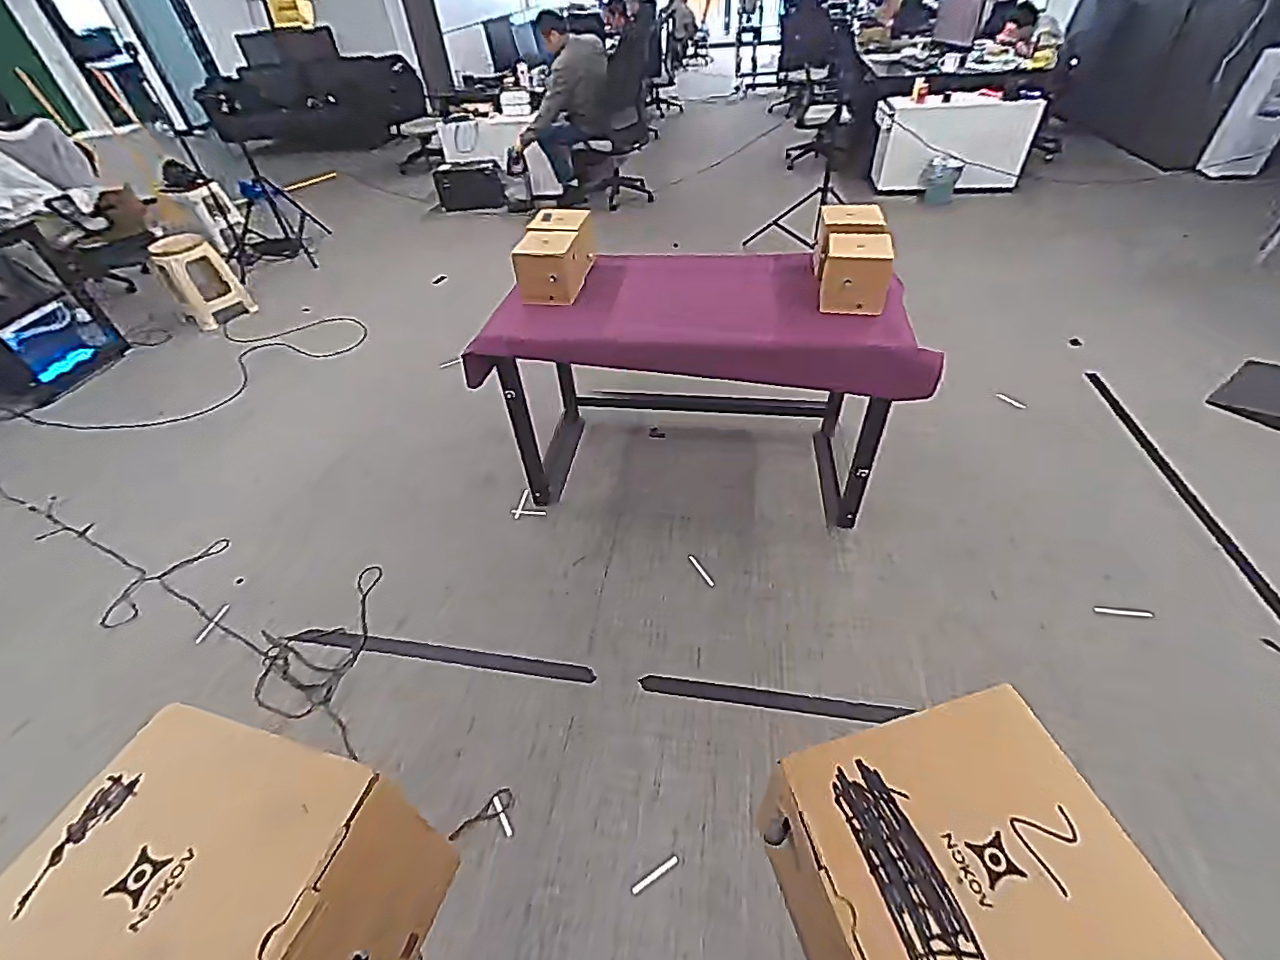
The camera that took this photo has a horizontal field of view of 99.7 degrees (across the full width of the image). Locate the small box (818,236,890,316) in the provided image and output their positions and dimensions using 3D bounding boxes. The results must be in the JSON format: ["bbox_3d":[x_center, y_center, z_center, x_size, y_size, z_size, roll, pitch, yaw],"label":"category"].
[{"bbox_3d":[0.612,-0.587,1.557,0.168,0.176,0.179,7,44,13],"label":"small box"}]

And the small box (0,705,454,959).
[{"bbox_3d":[-0.247,0.276,0.339,0.179,0.176,0.168,9,43,15],"label":"small box"}]

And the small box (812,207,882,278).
[{"bbox_3d":[0.646,-0.746,1.710,0.179,0.176,0.168,5,46,9],"label":"small box"}]

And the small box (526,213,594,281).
[{"bbox_3d":[-0.266,-0.791,1.838,0.179,0.176,0.168,6,47,9],"label":"small box"}]
